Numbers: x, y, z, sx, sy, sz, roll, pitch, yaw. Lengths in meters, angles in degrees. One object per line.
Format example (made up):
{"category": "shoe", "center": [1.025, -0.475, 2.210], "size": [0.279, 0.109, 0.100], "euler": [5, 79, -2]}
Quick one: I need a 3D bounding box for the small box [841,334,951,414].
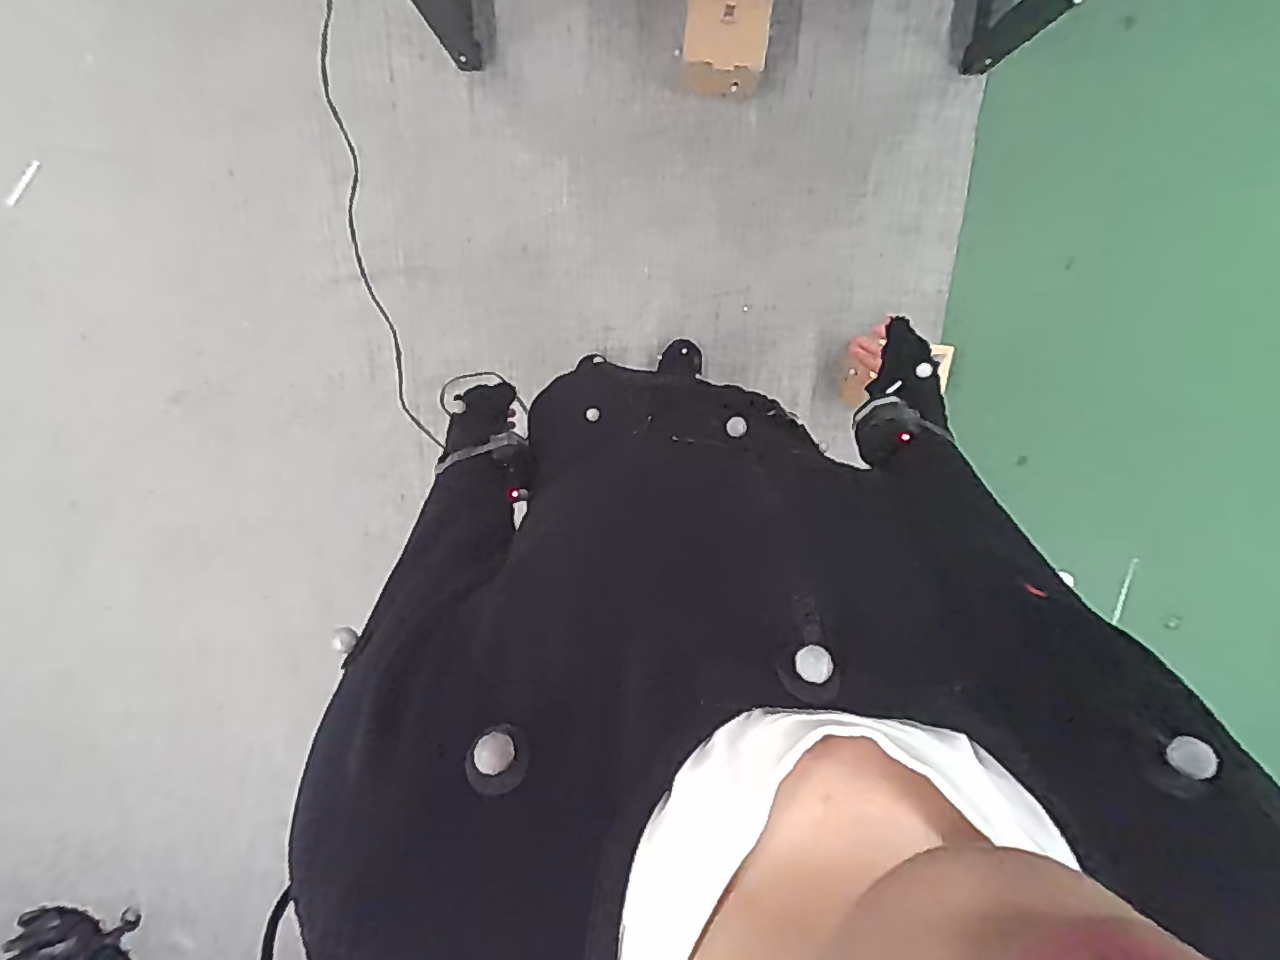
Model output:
{"category": "small box", "center": [0.613, -0.262, 1.320], "size": [0.179, 0.176, 0.168], "euler": [6, 106, -1]}

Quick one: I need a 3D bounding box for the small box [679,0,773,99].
{"category": "small box", "center": [0.174, -0.931, 1.128], "size": [0.168, 0.176, 0.179], "euler": [5, 104, -2]}
